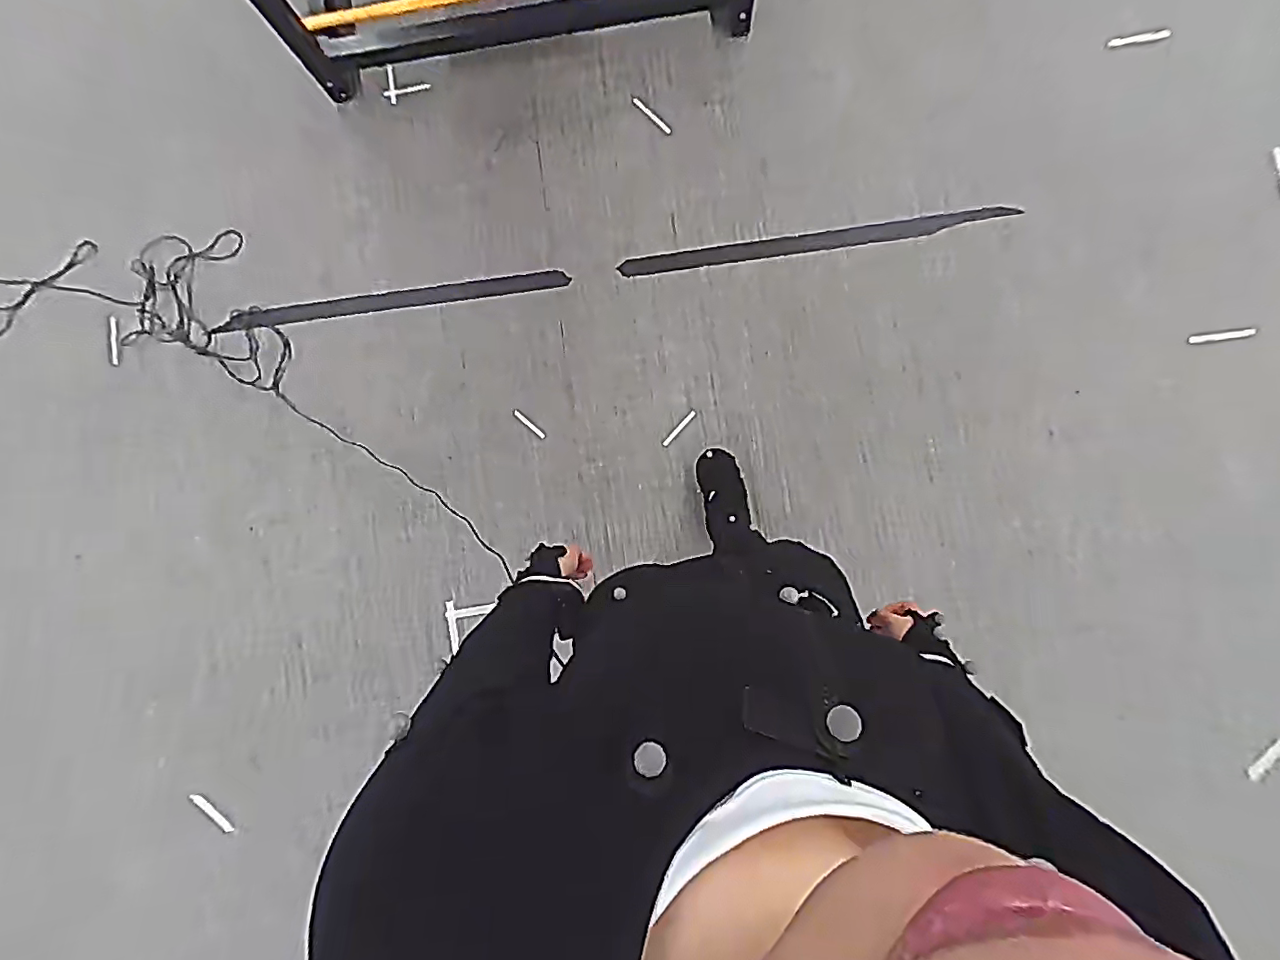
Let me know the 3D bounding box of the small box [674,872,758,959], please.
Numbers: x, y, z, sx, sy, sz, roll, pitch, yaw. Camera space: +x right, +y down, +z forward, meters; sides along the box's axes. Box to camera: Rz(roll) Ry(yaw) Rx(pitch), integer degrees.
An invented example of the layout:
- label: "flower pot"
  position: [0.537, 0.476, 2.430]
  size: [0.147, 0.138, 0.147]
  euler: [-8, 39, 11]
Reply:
- label: "small box"
  position: [0.174, 1.053, 1.255]
  size: [0.179, 0.176, 0.168]
  euler: [-7, 86, 2]
